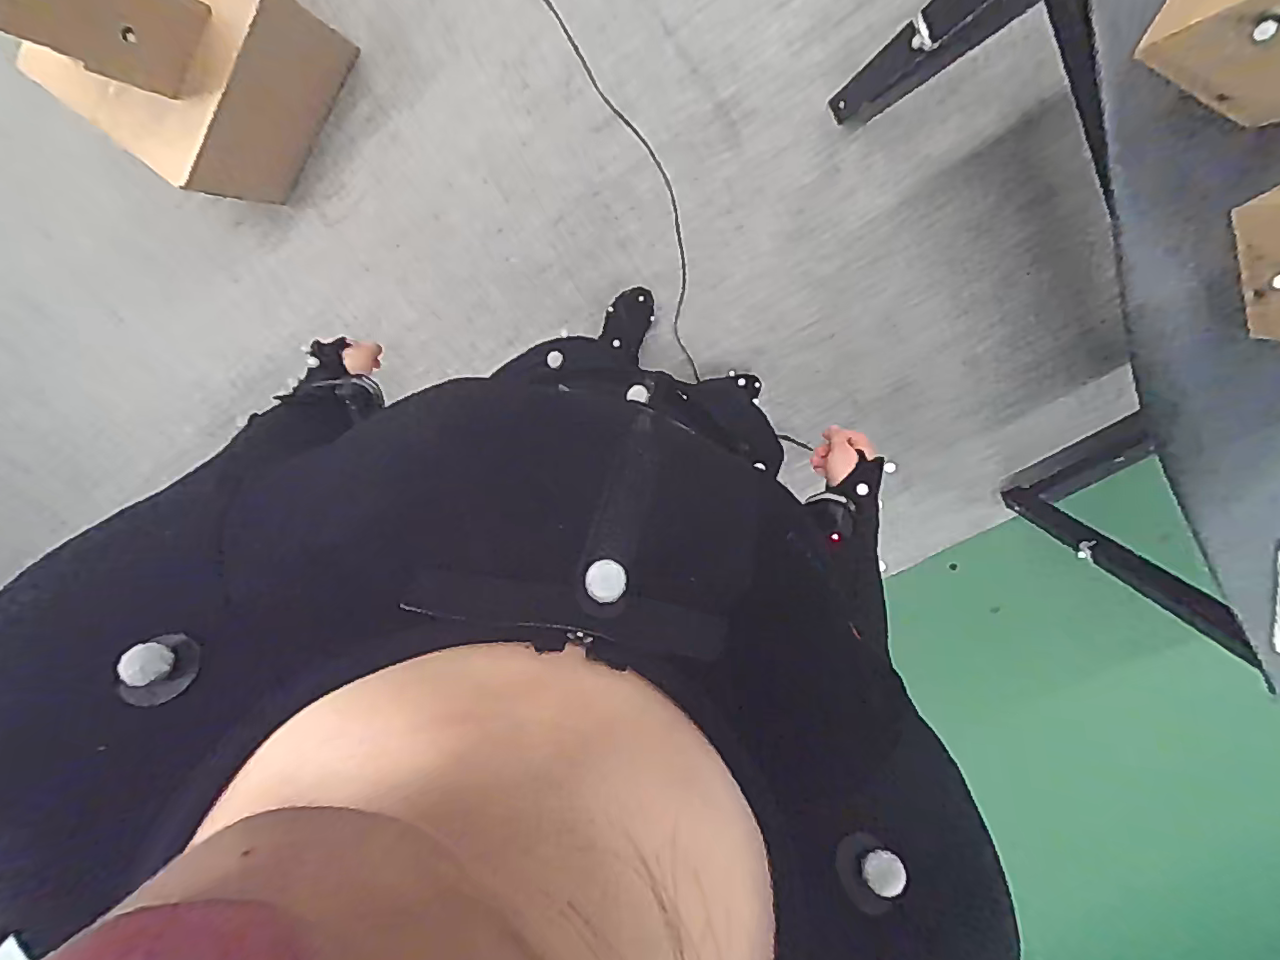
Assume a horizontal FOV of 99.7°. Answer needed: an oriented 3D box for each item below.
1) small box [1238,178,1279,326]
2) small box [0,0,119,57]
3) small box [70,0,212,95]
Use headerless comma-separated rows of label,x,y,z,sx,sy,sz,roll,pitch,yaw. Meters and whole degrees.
small box,0.793,-0.265,0.550,0.179,0.176,0.168,-27,107,11
small box,-0.832,-0.712,0.702,0.168,0.176,0.179,38,108,-14
small box,-0.838,-0.763,0.857,0.168,0.176,0.179,38,107,-13
